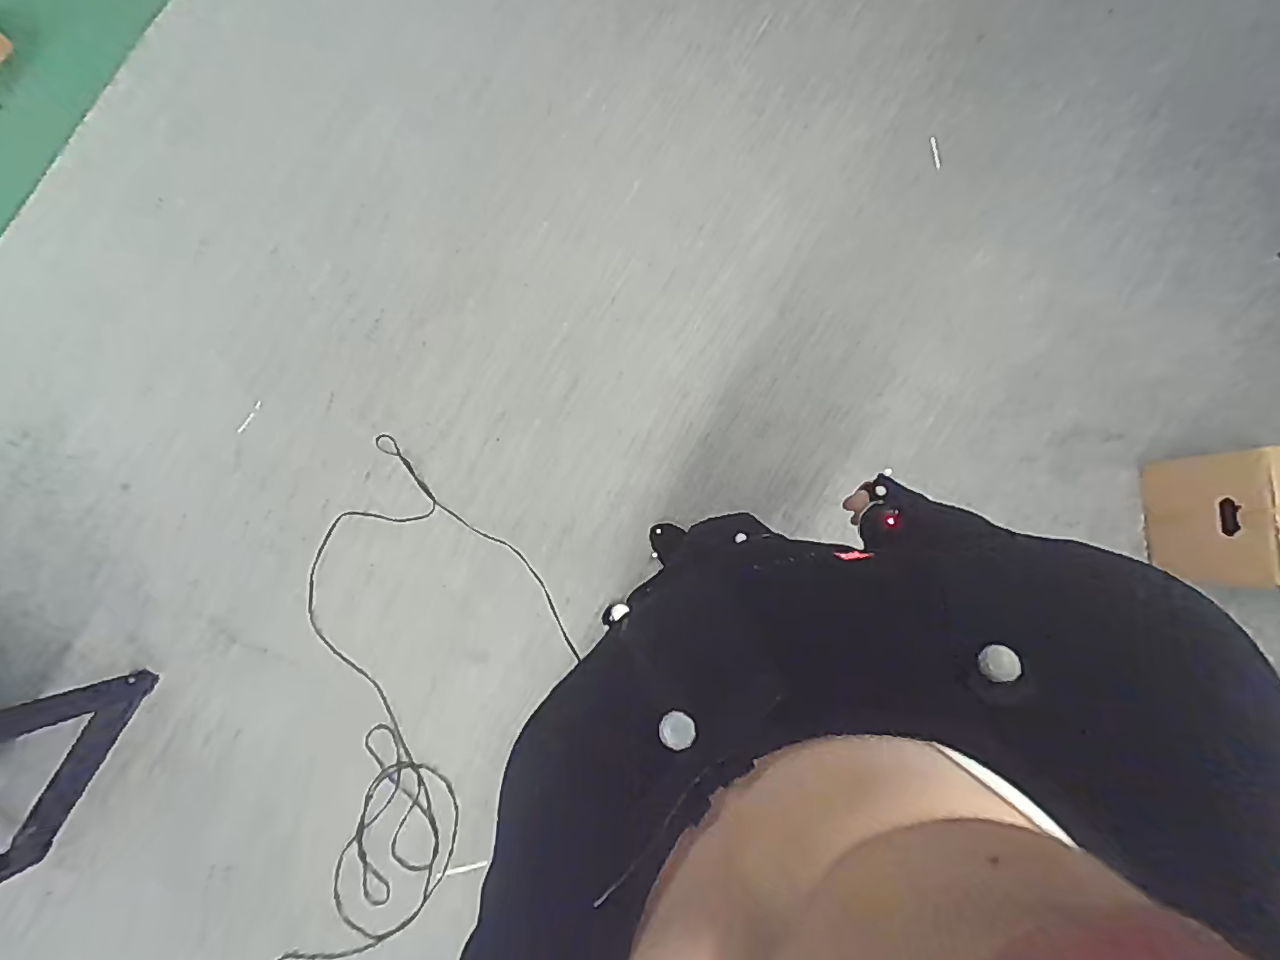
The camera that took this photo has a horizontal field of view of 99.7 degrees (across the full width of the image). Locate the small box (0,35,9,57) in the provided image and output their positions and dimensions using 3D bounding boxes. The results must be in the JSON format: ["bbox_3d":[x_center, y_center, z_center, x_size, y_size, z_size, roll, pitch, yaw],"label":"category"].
[{"bbox_3d":[-2.084,-1.361,1.617,0.179,0.176,0.168,39,86,5],"label":"small box"}]
